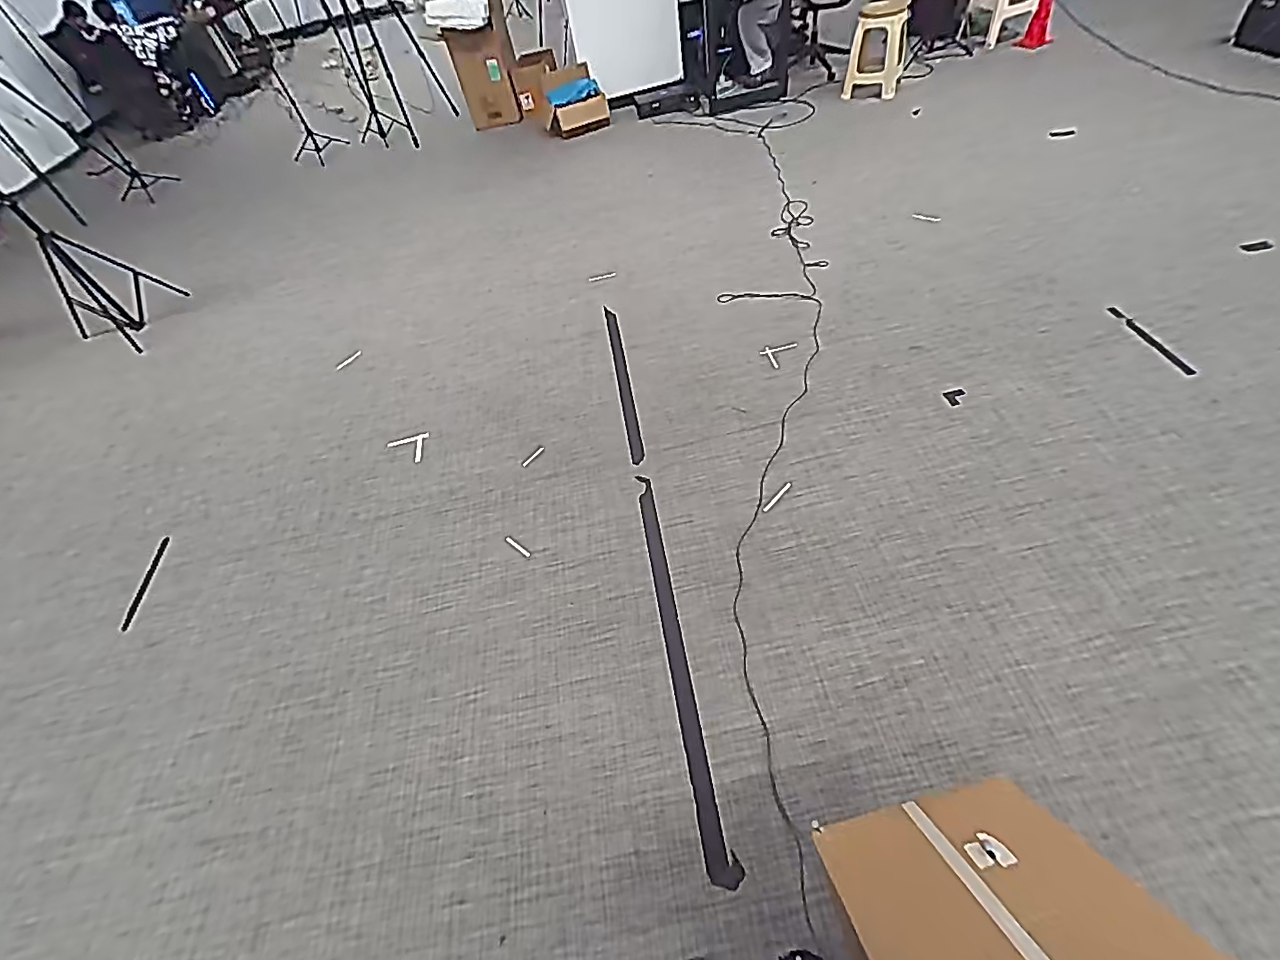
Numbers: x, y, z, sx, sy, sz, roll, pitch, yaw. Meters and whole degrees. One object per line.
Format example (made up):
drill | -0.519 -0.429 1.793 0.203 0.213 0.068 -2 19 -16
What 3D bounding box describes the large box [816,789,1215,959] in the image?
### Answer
large box | 0.461 0.661 0.639 0.320 0.408 0.320 -15 88 0
